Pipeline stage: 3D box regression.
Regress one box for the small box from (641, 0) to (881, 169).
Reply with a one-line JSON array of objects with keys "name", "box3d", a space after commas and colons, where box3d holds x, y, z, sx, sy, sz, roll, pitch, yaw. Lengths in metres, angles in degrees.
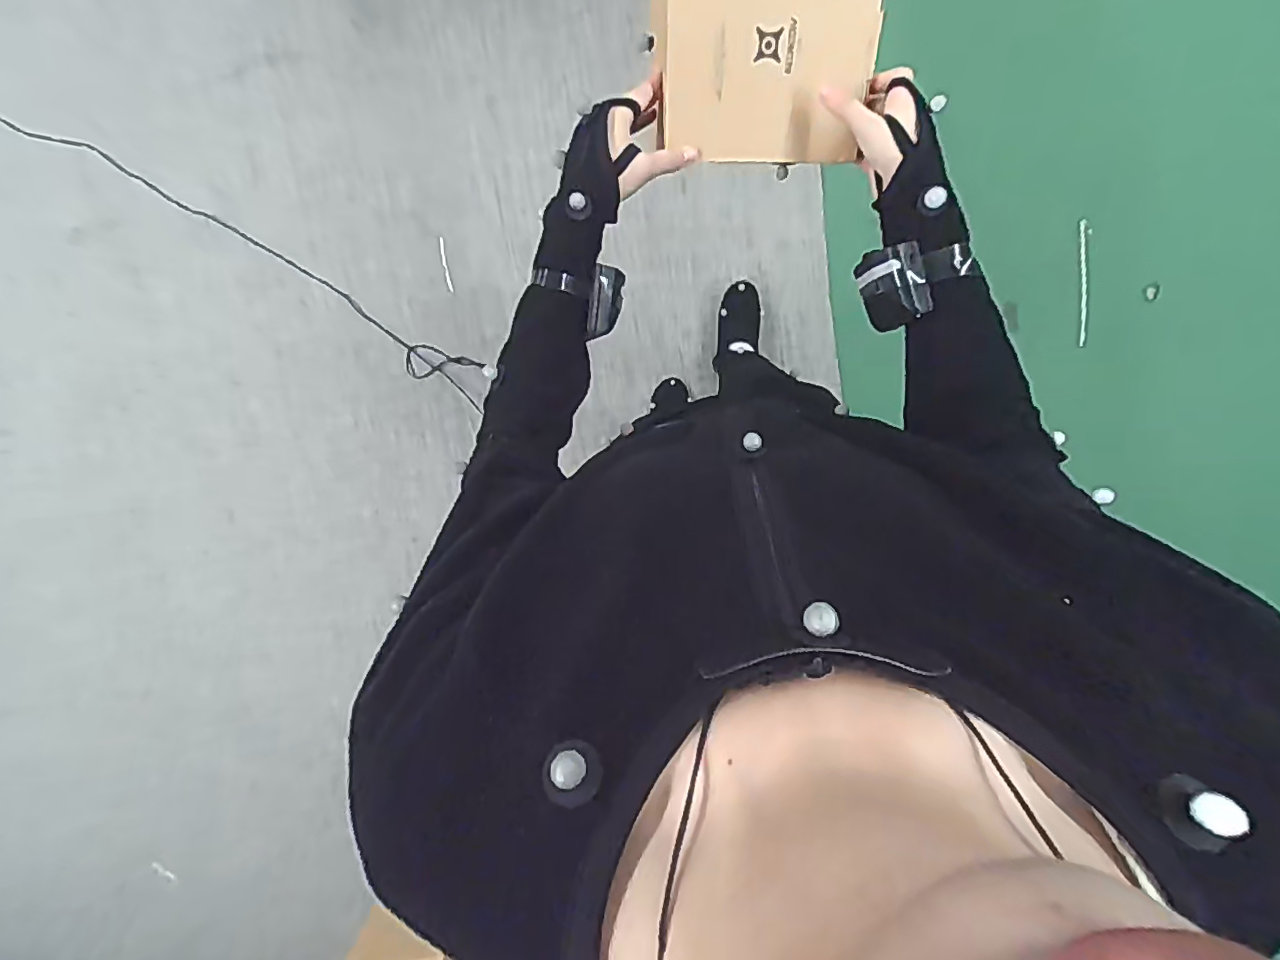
[{"name": "small box", "box3d": [0.097, -0.388, 0.504, 0.179, 0.176, 0.168, -2, 120, -4]}]
